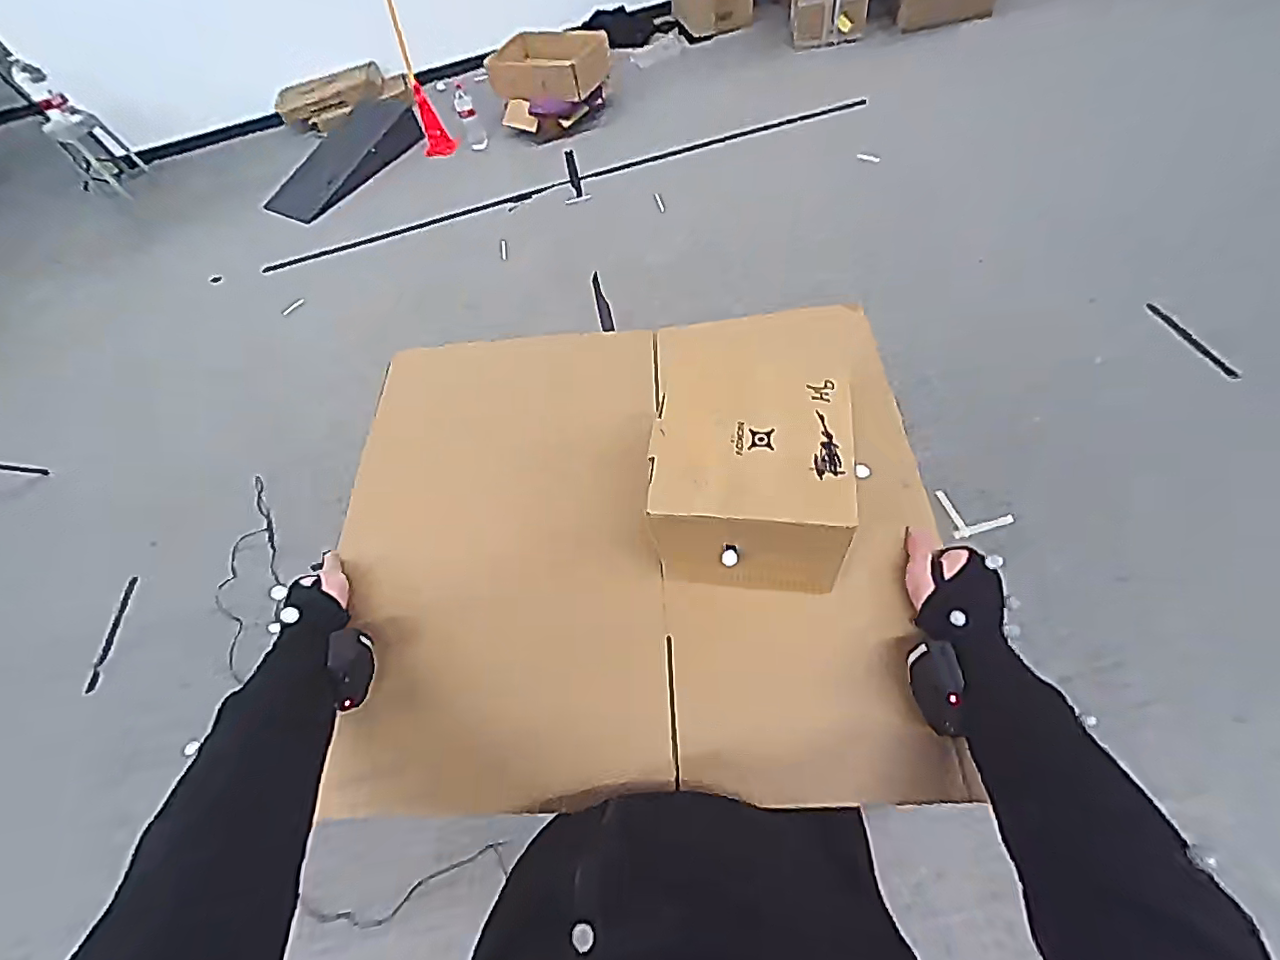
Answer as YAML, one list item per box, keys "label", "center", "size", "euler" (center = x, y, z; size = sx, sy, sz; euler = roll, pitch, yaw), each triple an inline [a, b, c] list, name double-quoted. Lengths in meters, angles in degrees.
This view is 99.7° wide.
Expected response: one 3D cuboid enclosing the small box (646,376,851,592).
- label: "small box"
  center: [0.115, 0.009, 0.565]
  size: [0.179, 0.176, 0.168]
  euler: [2, 61, 13]
